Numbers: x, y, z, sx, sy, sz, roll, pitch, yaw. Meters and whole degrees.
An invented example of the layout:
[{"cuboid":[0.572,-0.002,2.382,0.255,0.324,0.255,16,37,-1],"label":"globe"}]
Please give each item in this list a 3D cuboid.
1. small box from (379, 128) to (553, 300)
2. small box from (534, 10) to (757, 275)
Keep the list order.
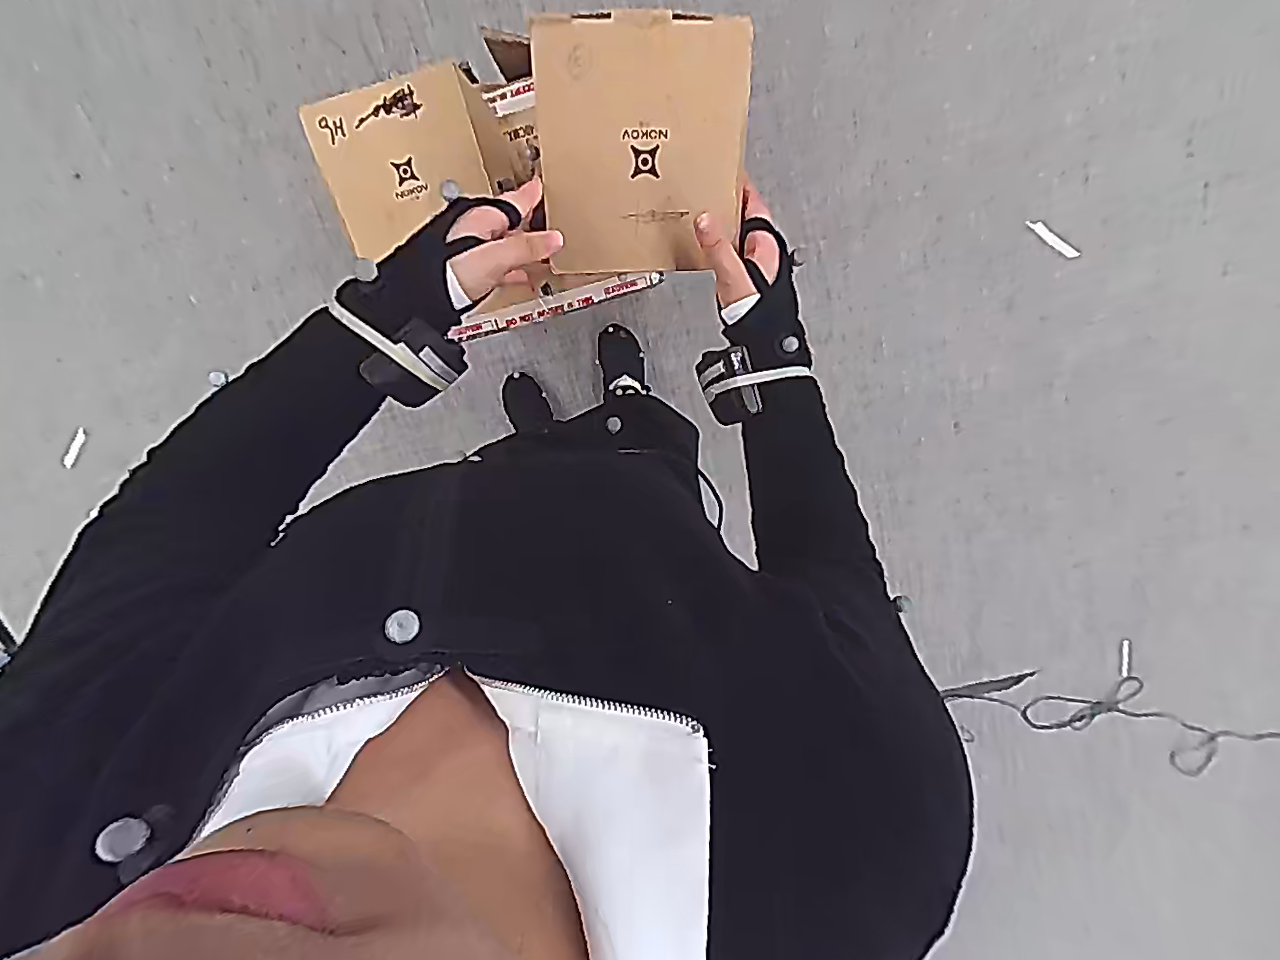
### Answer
[{"cuboid":[-0.239,-0.376,0.793,0.168,0.176,0.179,-16,111,5],"label":"small box"},{"cuboid":[-0.003,-0.293,0.492,0.168,0.176,0.179,-4,121,-5],"label":"small box"}]
